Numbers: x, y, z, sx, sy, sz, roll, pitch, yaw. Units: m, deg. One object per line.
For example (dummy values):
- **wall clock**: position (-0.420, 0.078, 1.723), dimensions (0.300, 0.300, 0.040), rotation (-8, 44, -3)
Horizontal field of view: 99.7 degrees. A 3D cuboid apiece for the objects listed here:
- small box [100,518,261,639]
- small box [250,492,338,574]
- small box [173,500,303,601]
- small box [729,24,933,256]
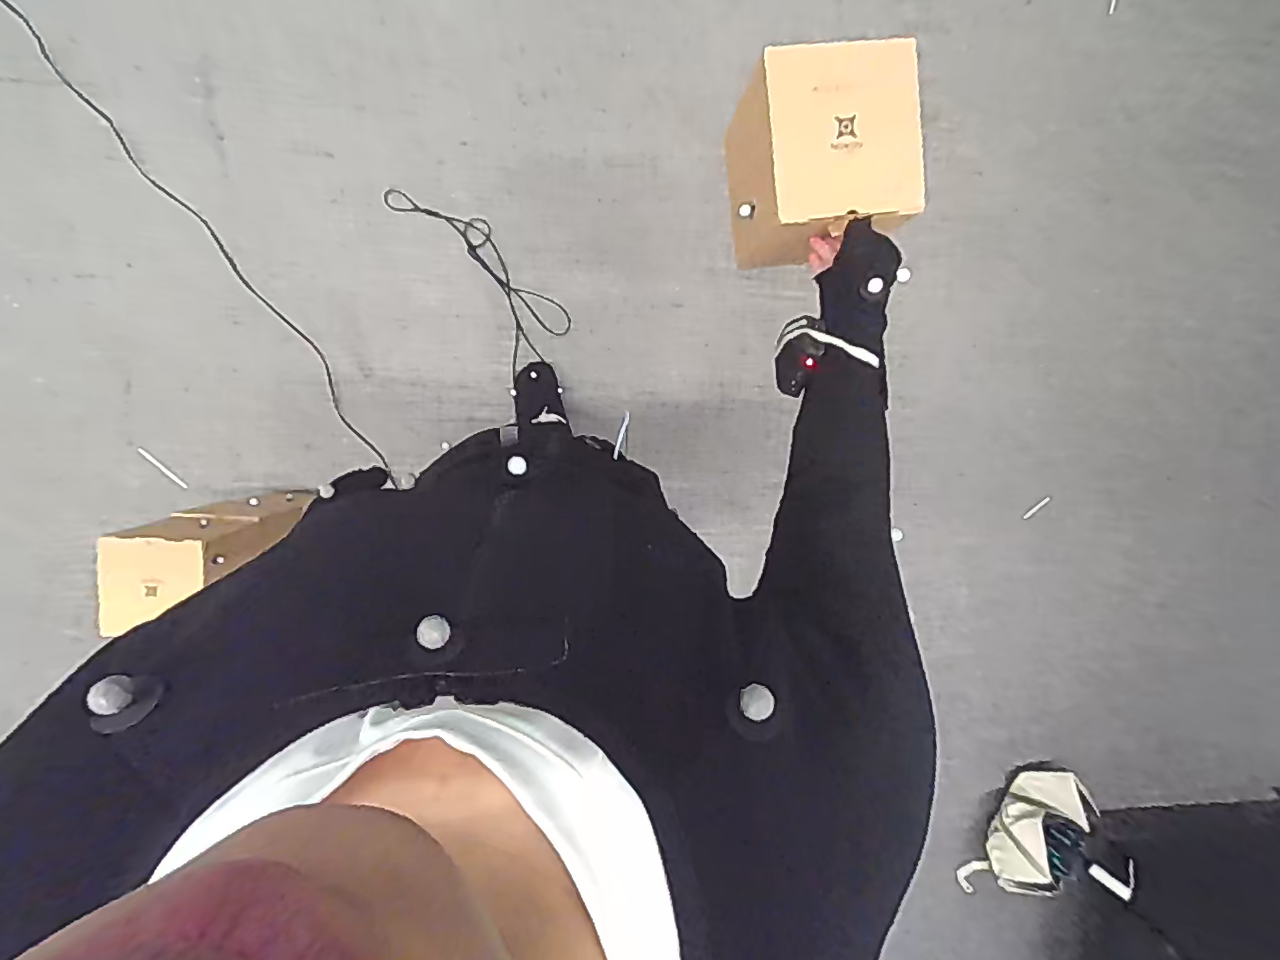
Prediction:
- **small box**: position (-0.831, 0.175, 0.996), dimensions (0.168, 0.176, 0.179), rotation (3, 96, -6)
- **small box**: position (-0.859, 0.125, 1.318), dimensions (0.179, 0.176, 0.168), rotation (3, 97, -7)
- **small box**: position (-0.848, 0.145, 1.155), dimensions (0.168, 0.176, 0.179), rotation (4, 96, -7)
- **small box**: position (0.209, -0.373, 0.627), dimensions (0.168, 0.176, 0.179), rotation (-7, 96, -5)
